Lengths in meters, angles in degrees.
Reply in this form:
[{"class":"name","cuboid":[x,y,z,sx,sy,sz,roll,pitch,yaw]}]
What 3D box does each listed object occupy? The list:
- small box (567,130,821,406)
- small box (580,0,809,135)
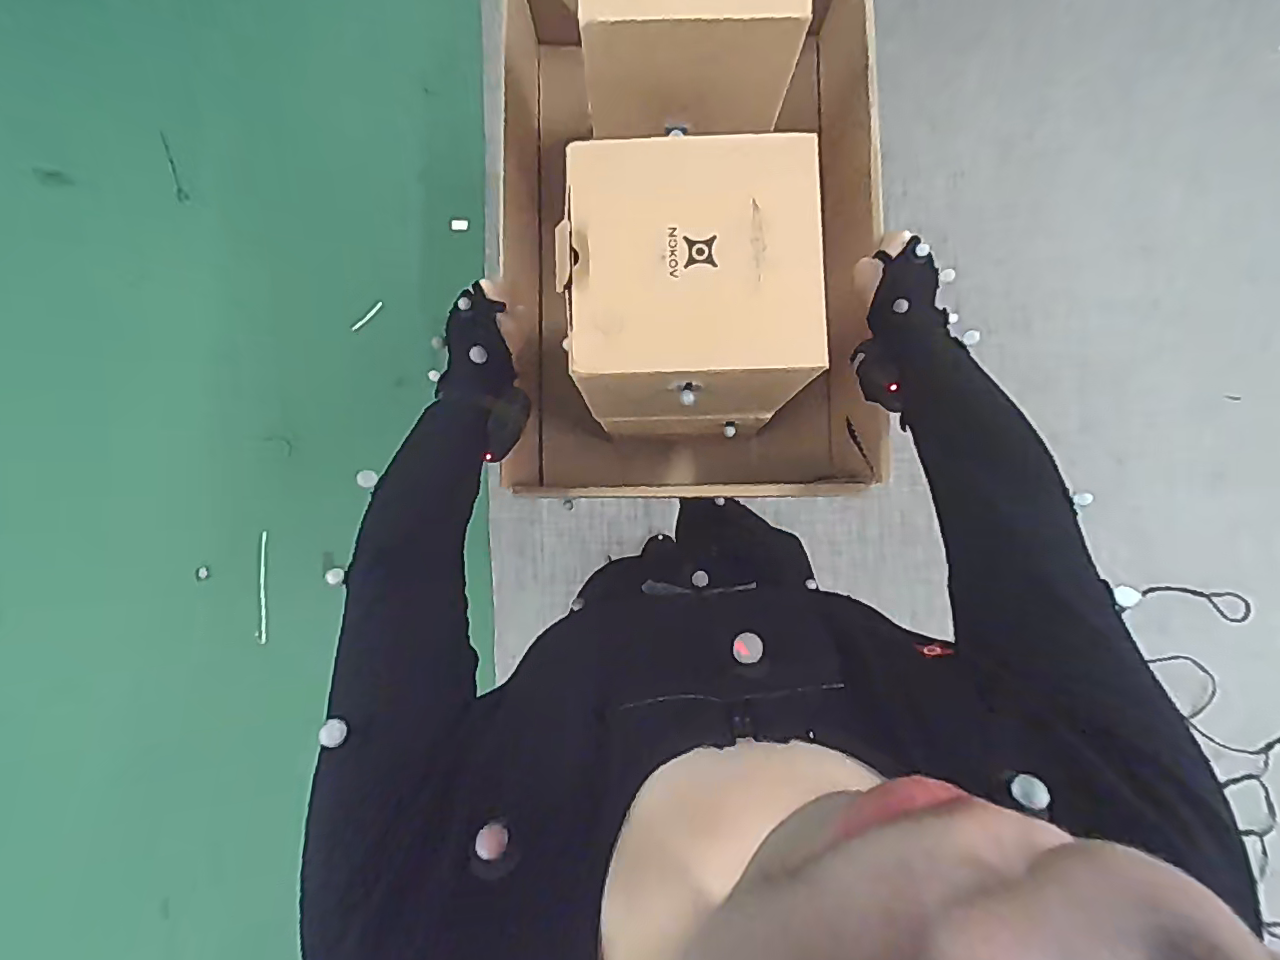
[{"class":"small box","cuboid":[0.037,-0.159,0.456,0.179,0.176,0.168,-1,87,-1]},{"class":"small box","cuboid":[0.039,-0.412,0.464,0.168,0.176,0.179,0,90,0]}]
